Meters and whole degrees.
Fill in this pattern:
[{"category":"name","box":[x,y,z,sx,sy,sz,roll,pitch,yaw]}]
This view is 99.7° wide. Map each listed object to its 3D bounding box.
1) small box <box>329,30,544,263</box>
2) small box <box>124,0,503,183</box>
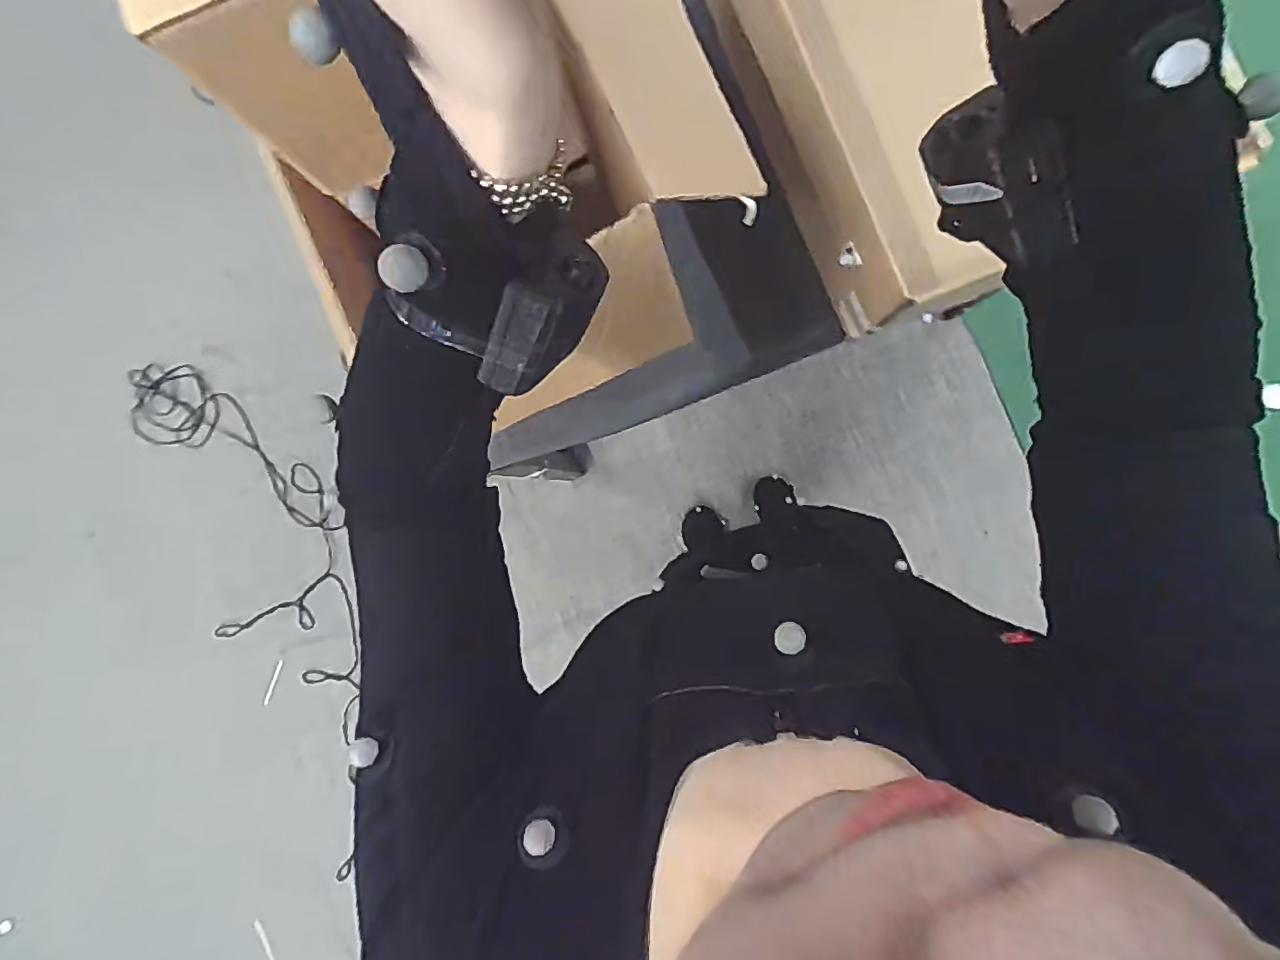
[{"category":"small box","box":[-0.214,-0.354,0.545,0.168,0.176,0.179,-20,90,3]},{"category":"small box","box":[-0.224,-0.352,0.384,0.179,0.176,0.168,-20,89,3]}]
